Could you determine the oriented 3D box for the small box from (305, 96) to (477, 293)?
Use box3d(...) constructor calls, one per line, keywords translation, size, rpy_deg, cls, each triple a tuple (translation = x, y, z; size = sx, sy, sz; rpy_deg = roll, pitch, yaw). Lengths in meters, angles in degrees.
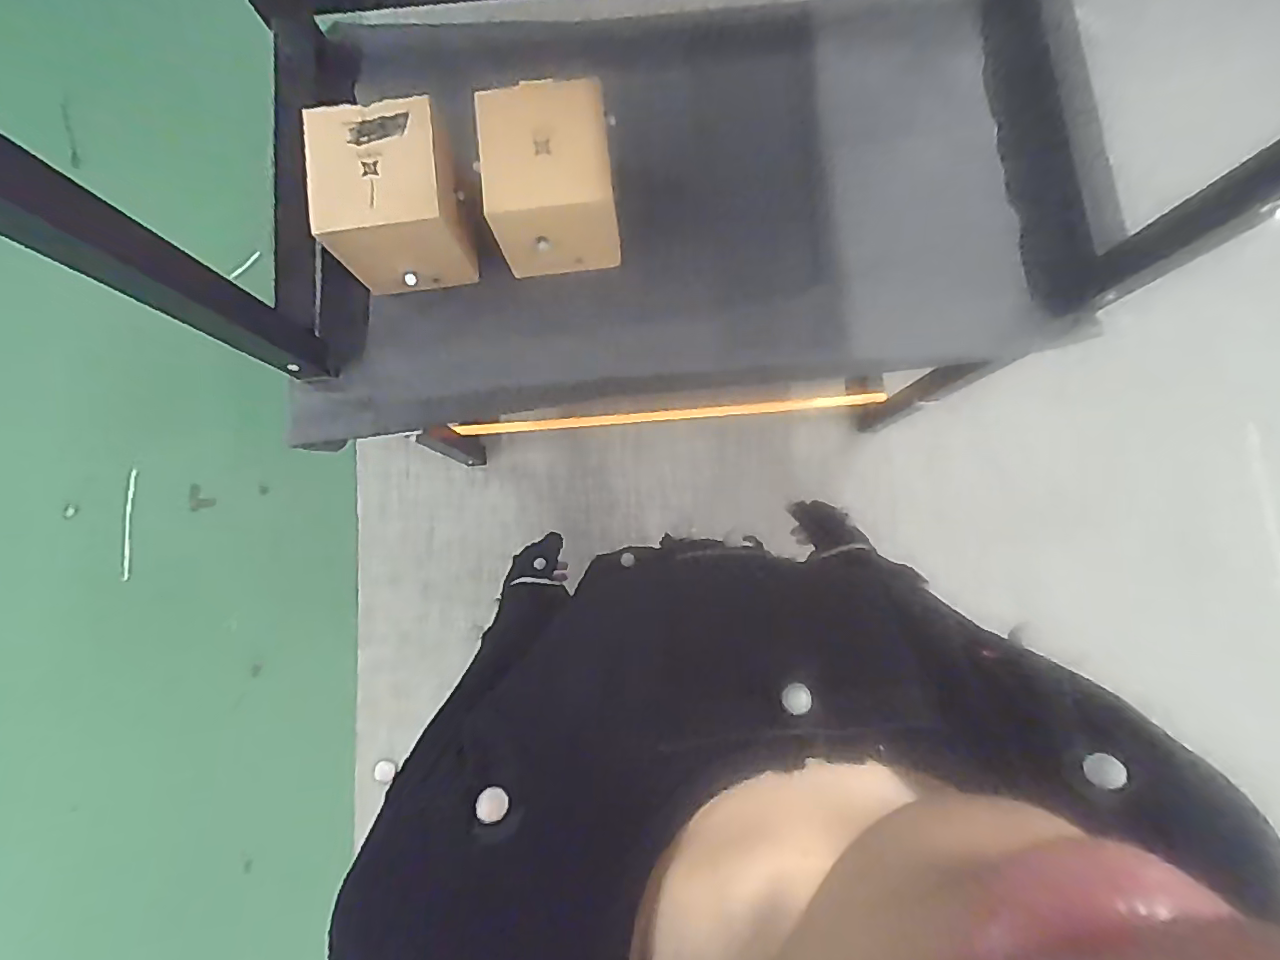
box3d(translation=(-0.340, -0.391, 0.763), size=(0.168, 0.176, 0.179), rpy_deg=(-7, 83, 0), cls="small box")
